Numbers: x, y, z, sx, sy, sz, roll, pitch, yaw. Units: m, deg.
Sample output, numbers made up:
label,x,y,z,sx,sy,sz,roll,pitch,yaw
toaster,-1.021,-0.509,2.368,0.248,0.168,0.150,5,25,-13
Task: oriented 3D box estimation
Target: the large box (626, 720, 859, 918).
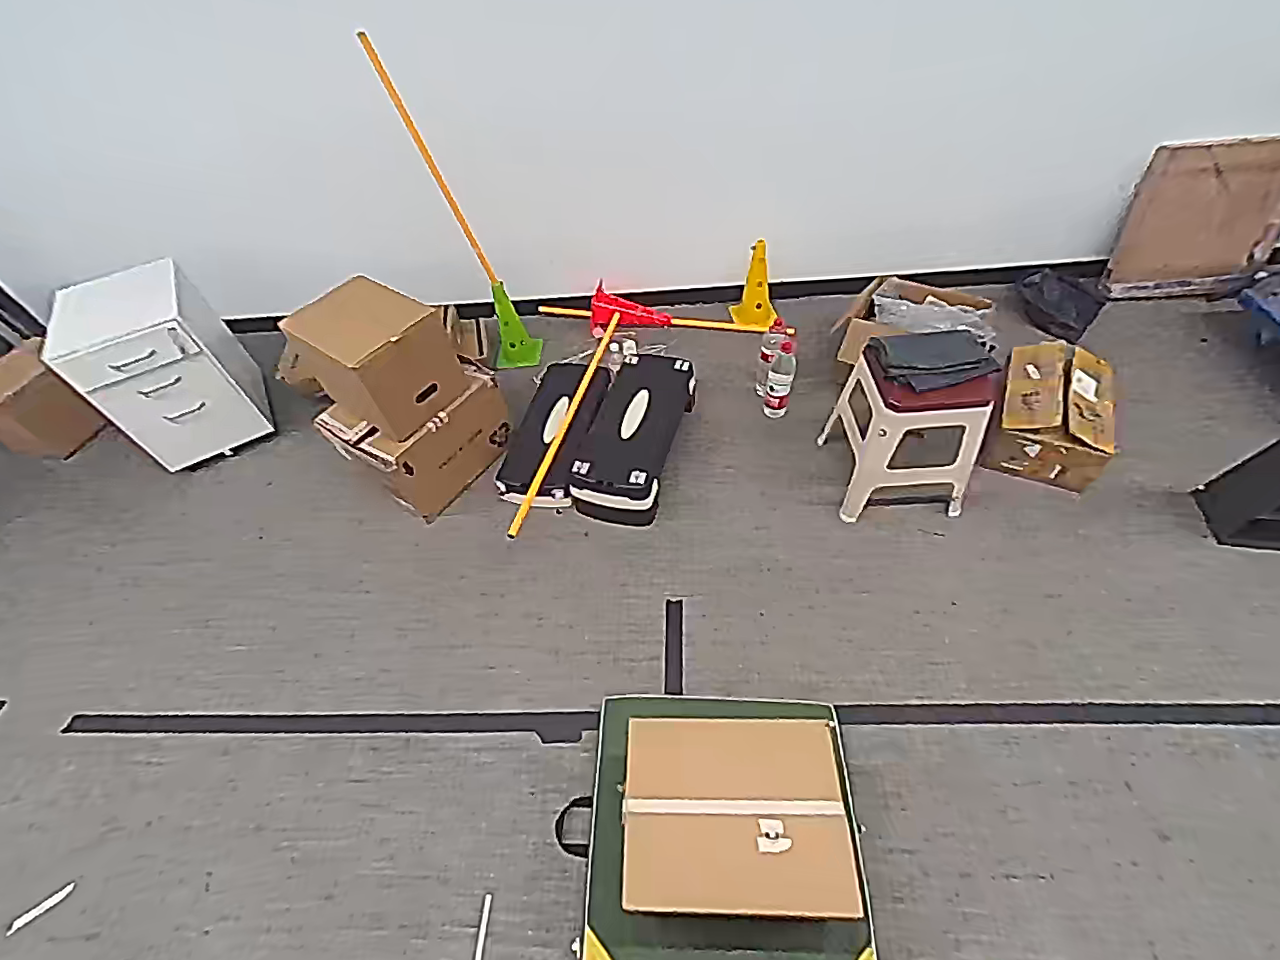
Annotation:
label,x,y,z,sx,sy,sz,roll,pitch,yaw
large box,0.183,0.712,1.129,0.408,0.320,0.320,-2,51,4
